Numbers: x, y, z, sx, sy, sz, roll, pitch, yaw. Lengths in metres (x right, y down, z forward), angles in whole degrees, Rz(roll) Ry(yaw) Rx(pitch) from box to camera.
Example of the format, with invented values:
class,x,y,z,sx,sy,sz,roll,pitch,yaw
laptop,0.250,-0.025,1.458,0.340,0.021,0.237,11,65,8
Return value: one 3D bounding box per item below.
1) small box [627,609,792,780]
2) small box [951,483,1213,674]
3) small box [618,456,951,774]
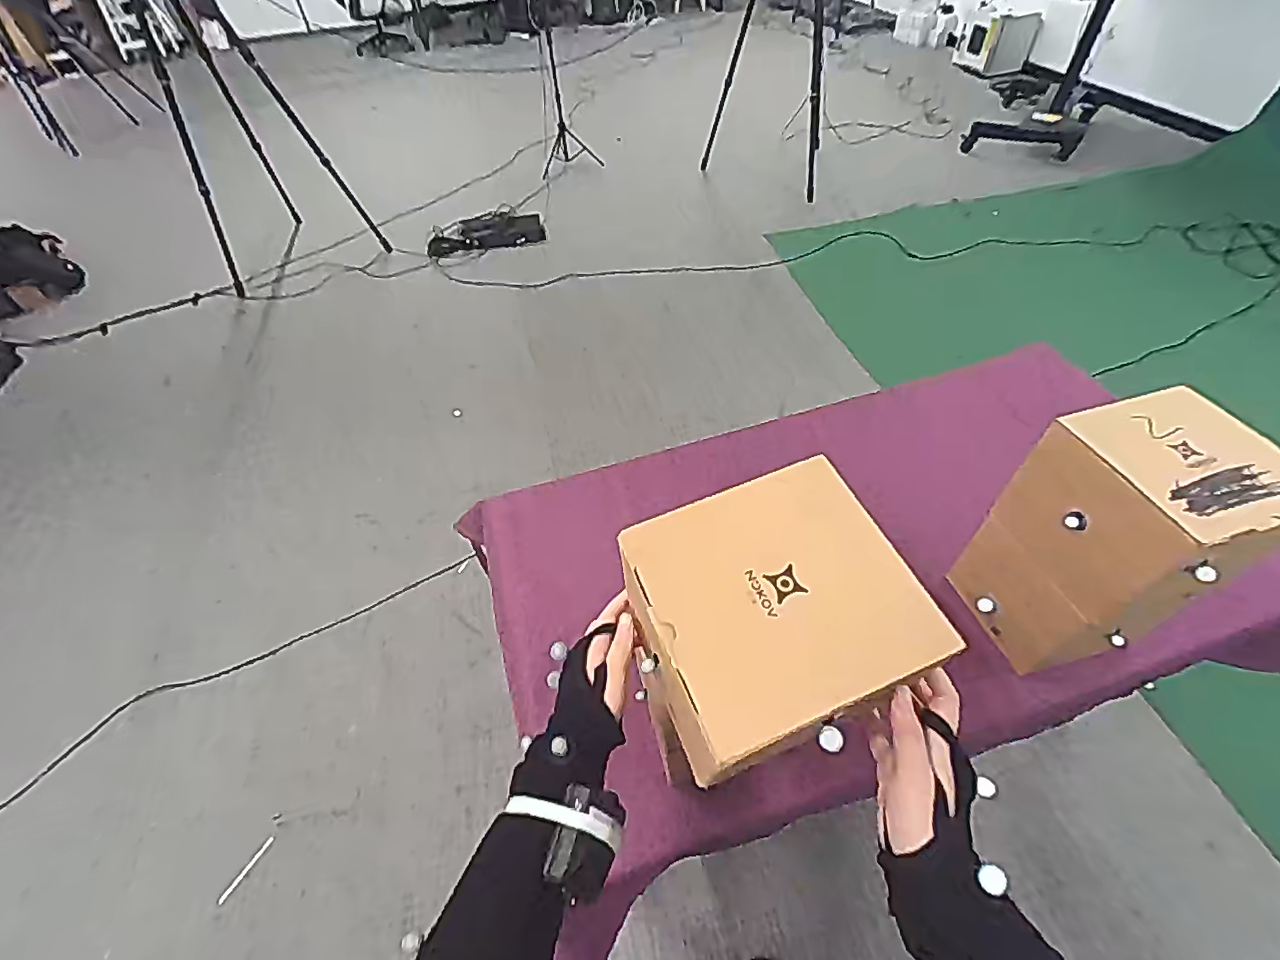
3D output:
class,x,y,z,sx,sy,sz,roll,pitch,yaw
small box,0.093,0.247,0.666,0.179,0.176,0.168,-14,50,-6
small box,0.563,0.134,0.722,0.179,0.176,0.168,-14,50,-6
small box,0.095,0.115,0.437,0.179,0.176,0.168,-21,57,-9
